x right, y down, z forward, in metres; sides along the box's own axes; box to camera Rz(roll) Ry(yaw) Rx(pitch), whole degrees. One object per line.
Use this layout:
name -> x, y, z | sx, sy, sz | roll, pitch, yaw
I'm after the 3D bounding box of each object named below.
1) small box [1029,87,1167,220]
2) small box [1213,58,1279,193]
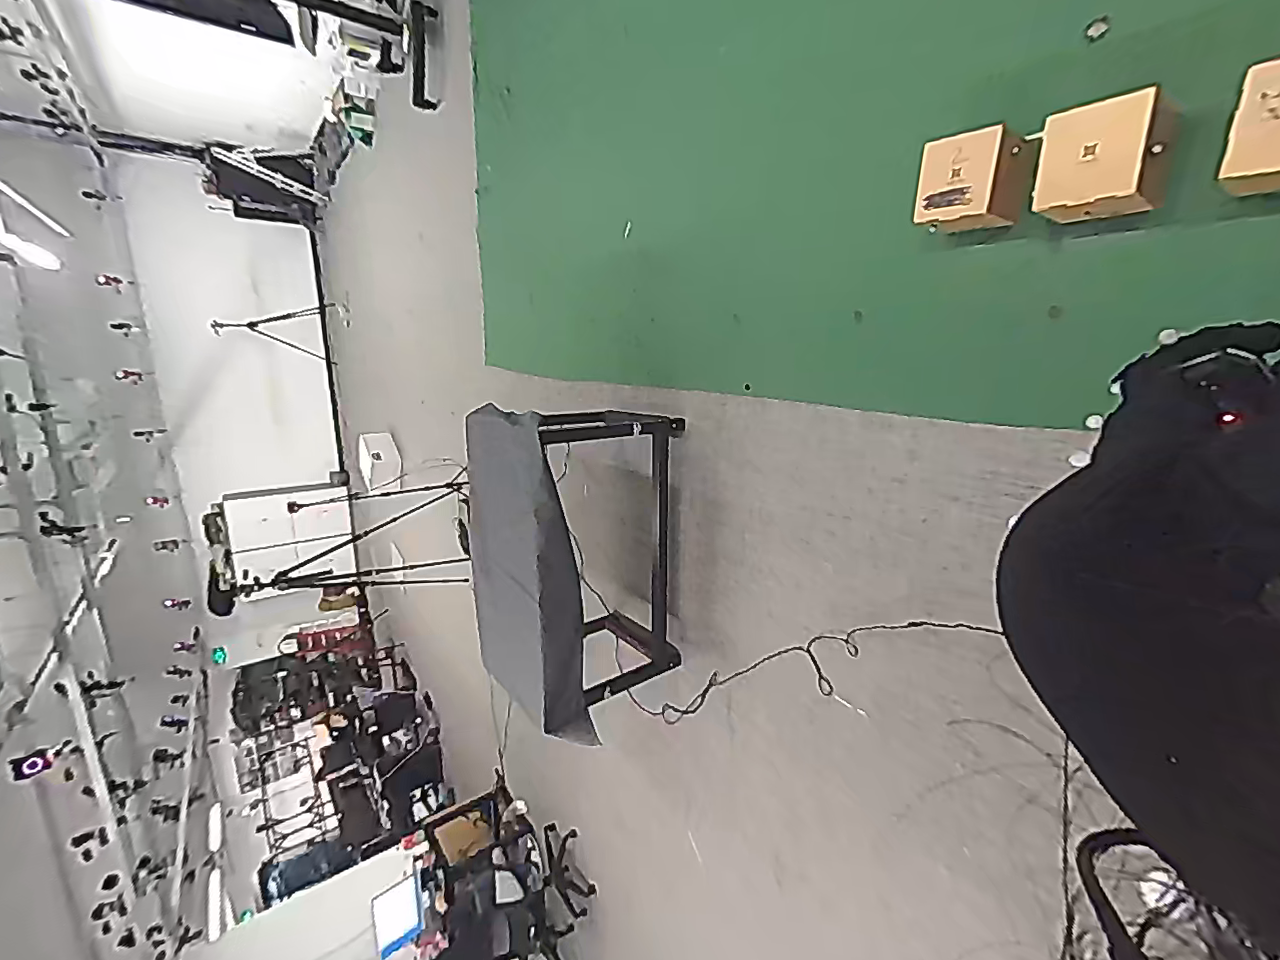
small box -> 0.920, -0.641, 1.085 | 0.168, 0.176, 0.179 | 17, 112, 50
small box -> 1.086, -0.579, 0.875 | 0.179, 0.176, 0.168 | 20, 114, 49
